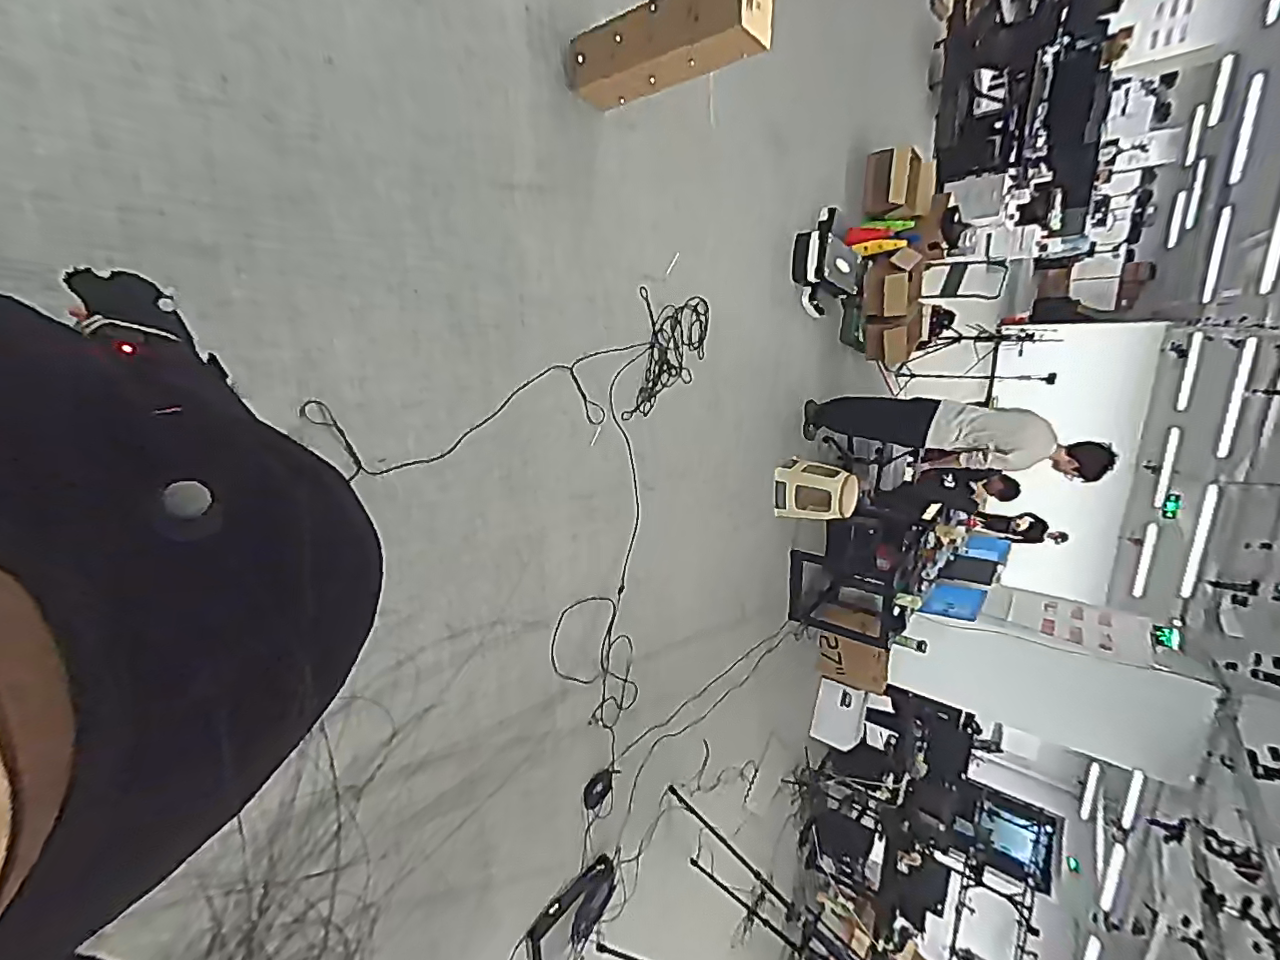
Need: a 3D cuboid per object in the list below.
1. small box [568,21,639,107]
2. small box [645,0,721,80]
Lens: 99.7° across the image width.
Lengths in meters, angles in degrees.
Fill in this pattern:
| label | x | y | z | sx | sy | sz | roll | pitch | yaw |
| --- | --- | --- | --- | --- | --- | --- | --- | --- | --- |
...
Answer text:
| label | x | y | z | sx | sy | sz | roll | pitch | yaw |
| --- | --- | --- | --- | --- | --- | --- | --- | --- | --- |
| small box | -0.125 | -1.417 | 1.858 | 0.179 | 0.176 | 0.168 | -11 | 107 | -50 |
| small box | 0.129 | -1.369 | 1.659 | 0.179 | 0.176 | 0.168 | -15 | 111 | -50 |
